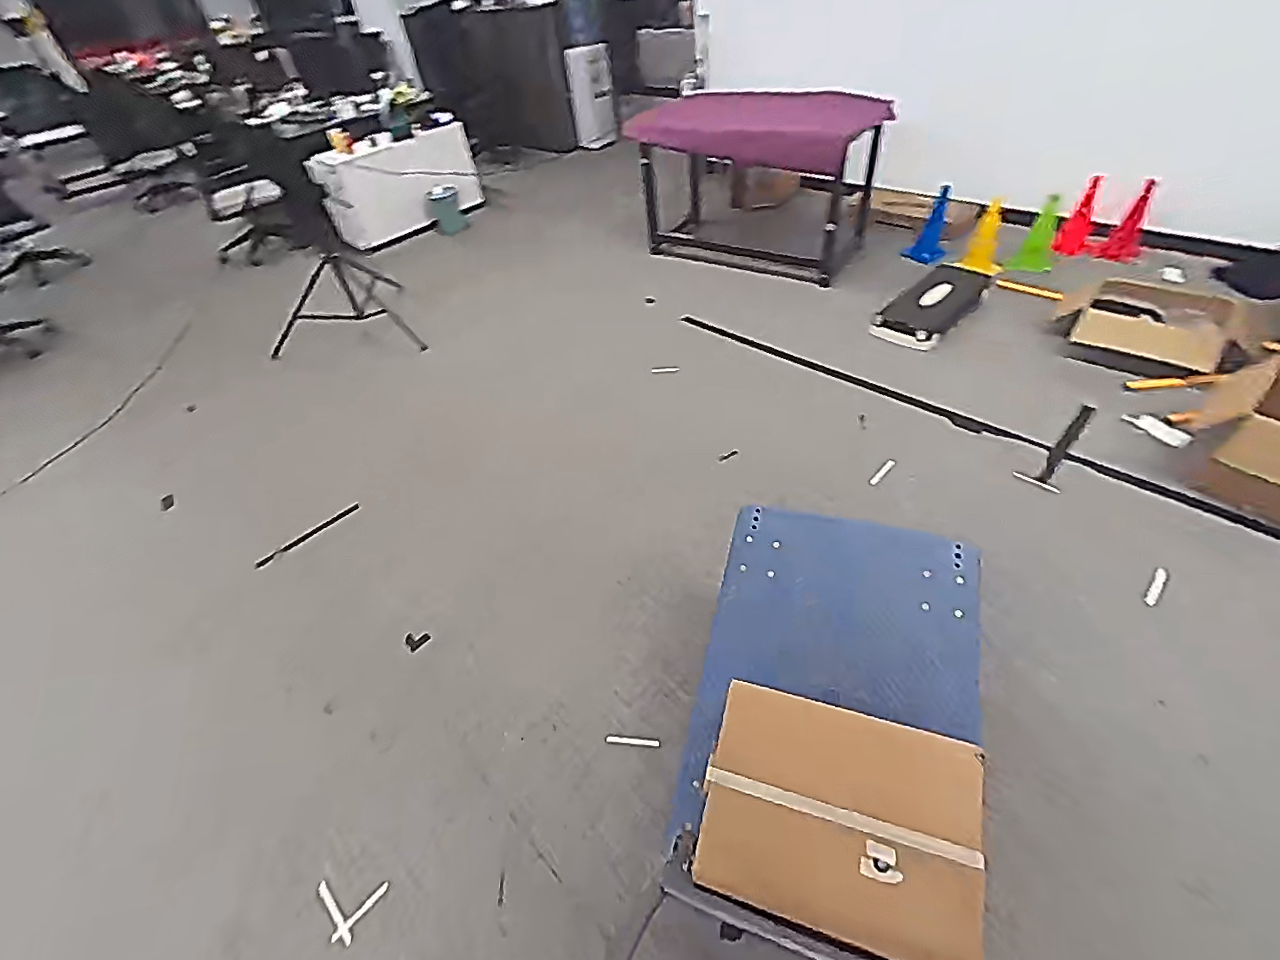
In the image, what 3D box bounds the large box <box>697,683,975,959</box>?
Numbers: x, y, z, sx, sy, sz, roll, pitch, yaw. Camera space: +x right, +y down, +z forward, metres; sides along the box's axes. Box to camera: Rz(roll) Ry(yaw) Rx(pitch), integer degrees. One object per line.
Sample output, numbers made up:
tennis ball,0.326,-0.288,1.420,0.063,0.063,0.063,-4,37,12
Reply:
large box,0.339,0.601,0.994,0.408,0.320,0.320,10,65,16
